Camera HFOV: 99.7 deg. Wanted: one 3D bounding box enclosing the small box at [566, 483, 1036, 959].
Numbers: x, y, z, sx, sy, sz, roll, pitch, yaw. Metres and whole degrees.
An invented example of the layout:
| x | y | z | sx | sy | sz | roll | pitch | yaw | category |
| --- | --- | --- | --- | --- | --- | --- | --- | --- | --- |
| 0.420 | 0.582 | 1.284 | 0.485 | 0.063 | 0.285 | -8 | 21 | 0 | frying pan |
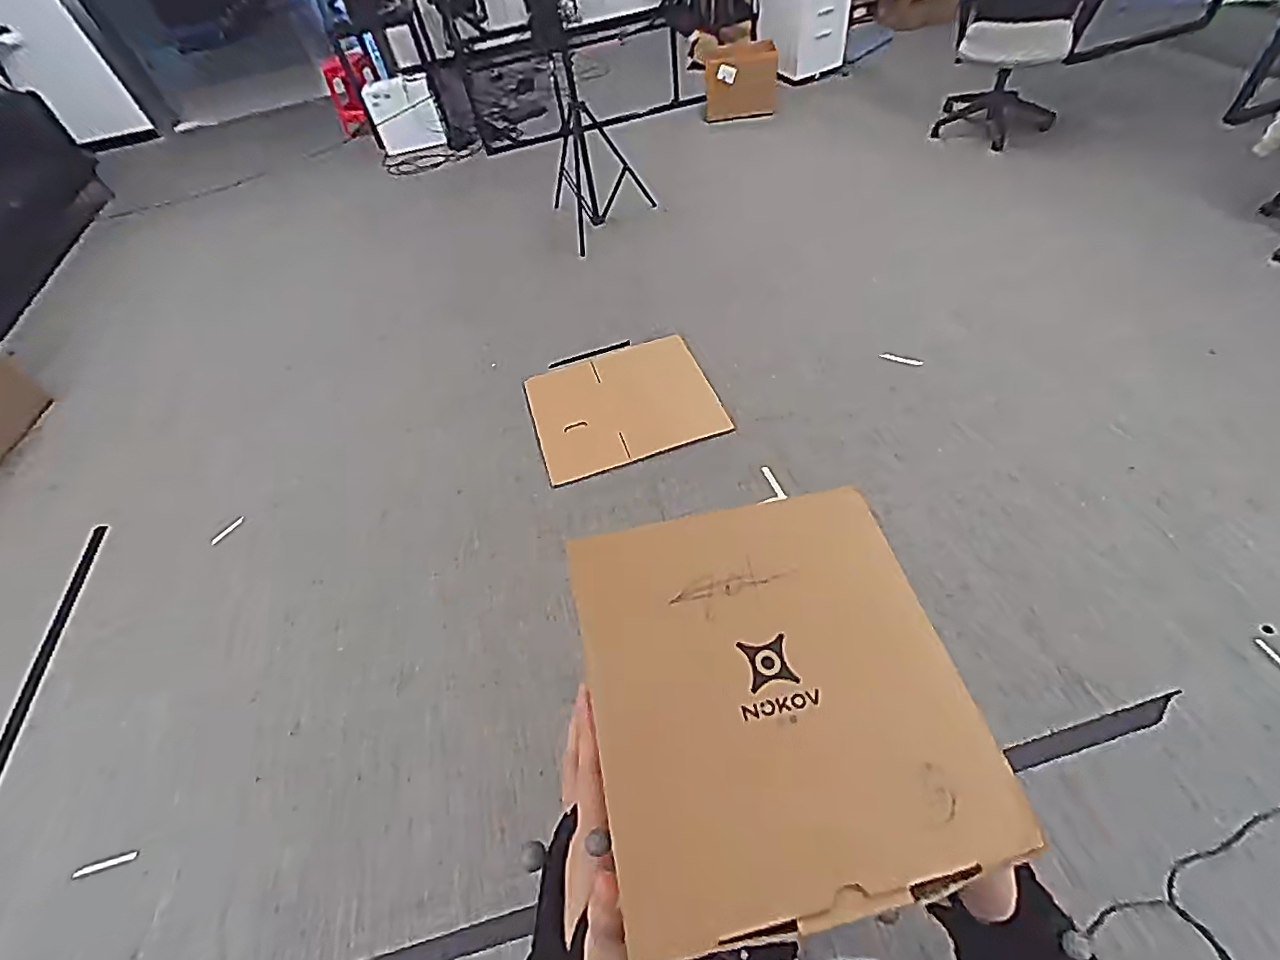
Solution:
| x | y | z | sx | sy | sz | roll | pitch | yaw | category |
| --- | --- | --- | --- | --- | --- | --- | --- | --- | --- |
| 0.058 | 0.130 | 0.310 | 0.168 | 0.176 | 0.179 | -10 | 55 | -8 | small box |
